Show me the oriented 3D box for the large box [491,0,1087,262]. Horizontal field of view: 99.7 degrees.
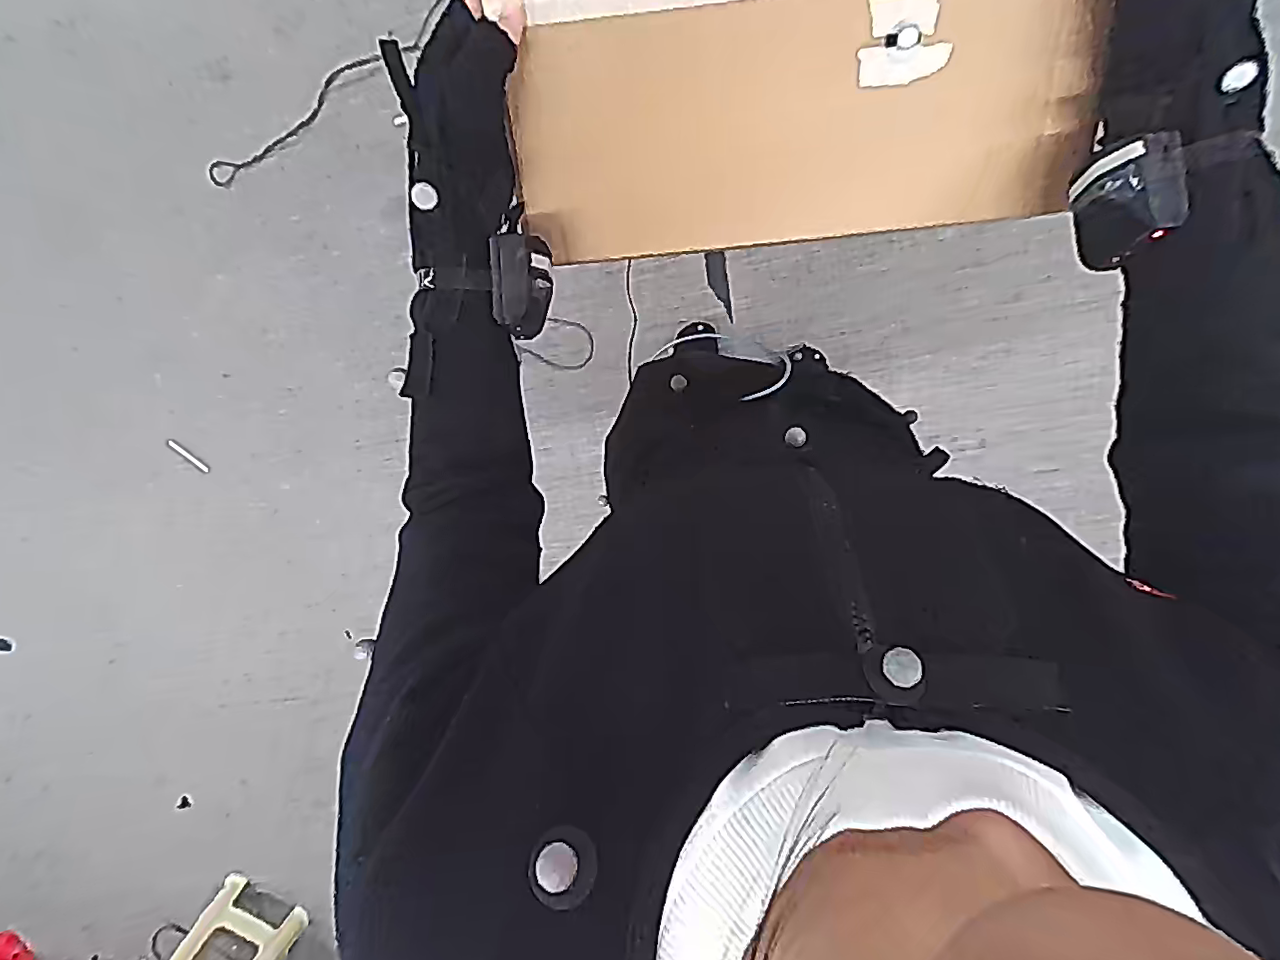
[{"bbox_3d":[0.096,-0.388,0.494,0.408,0.320,0.320,-6,113,2],"label":"large box"}]
